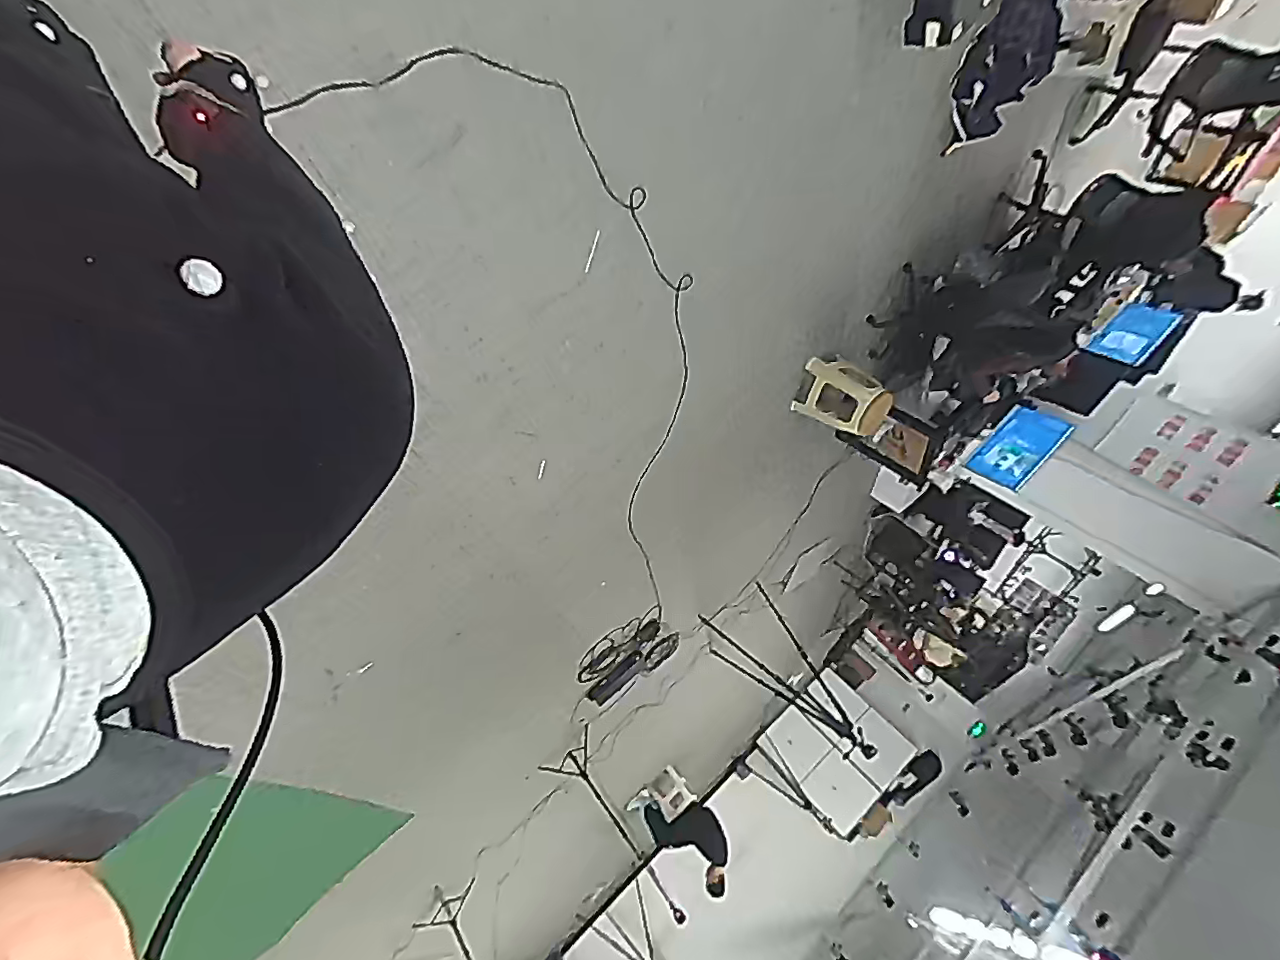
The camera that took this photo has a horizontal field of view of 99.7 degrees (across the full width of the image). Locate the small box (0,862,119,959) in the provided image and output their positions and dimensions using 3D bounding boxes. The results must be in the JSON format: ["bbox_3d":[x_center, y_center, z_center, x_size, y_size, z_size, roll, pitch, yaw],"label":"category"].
[{"bbox_3d":[-1.036,0.772,0.897,0.179,0.176,0.168,-42,144,-13],"label":"small box"}]
